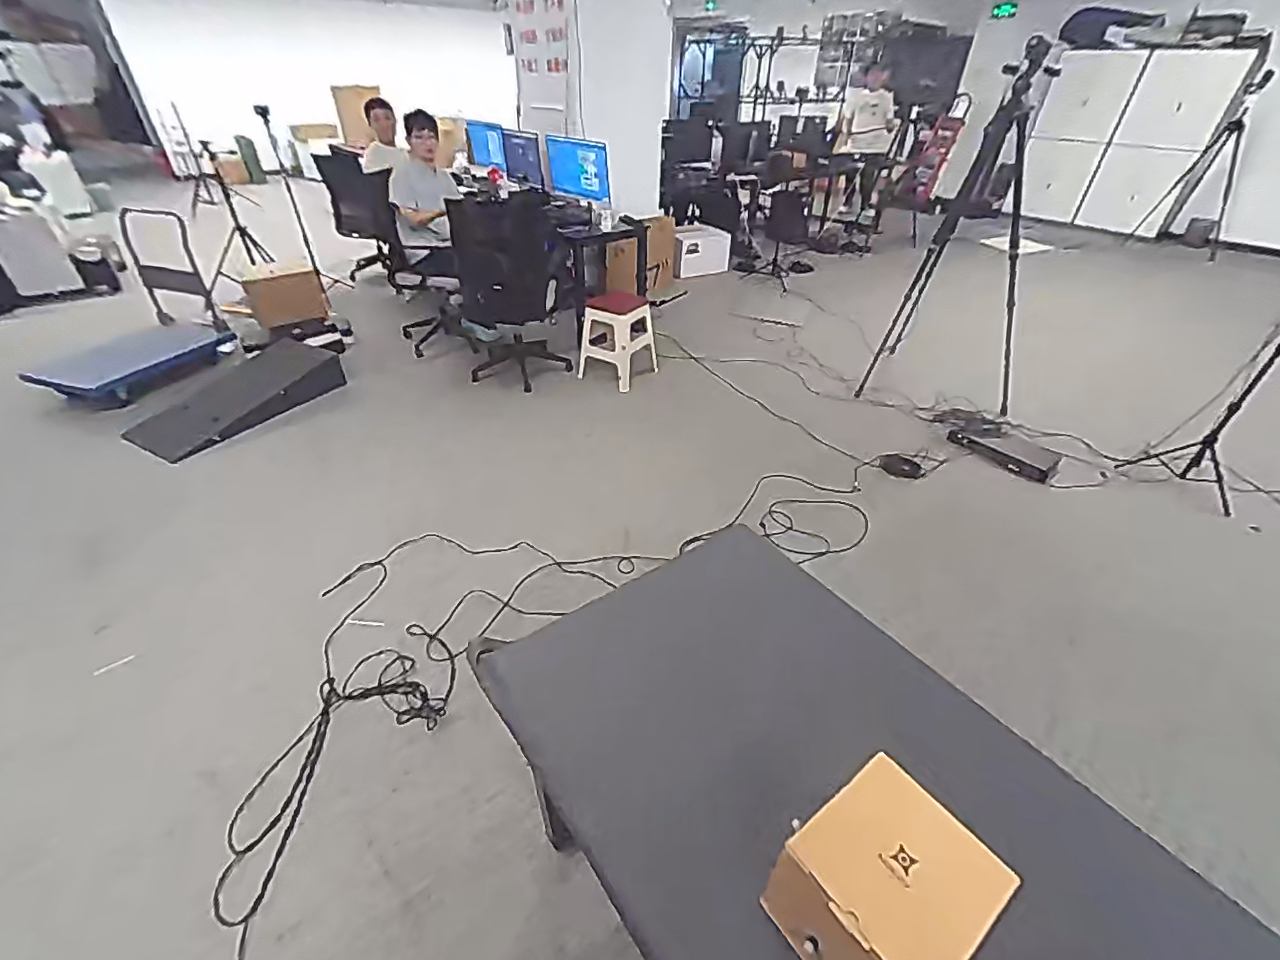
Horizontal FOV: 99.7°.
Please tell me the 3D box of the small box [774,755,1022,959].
[{"bbox_3d":[0.273,0.462,0.608,0.179,0.176,0.168,-24,43,-29],"label":"small box"}]
